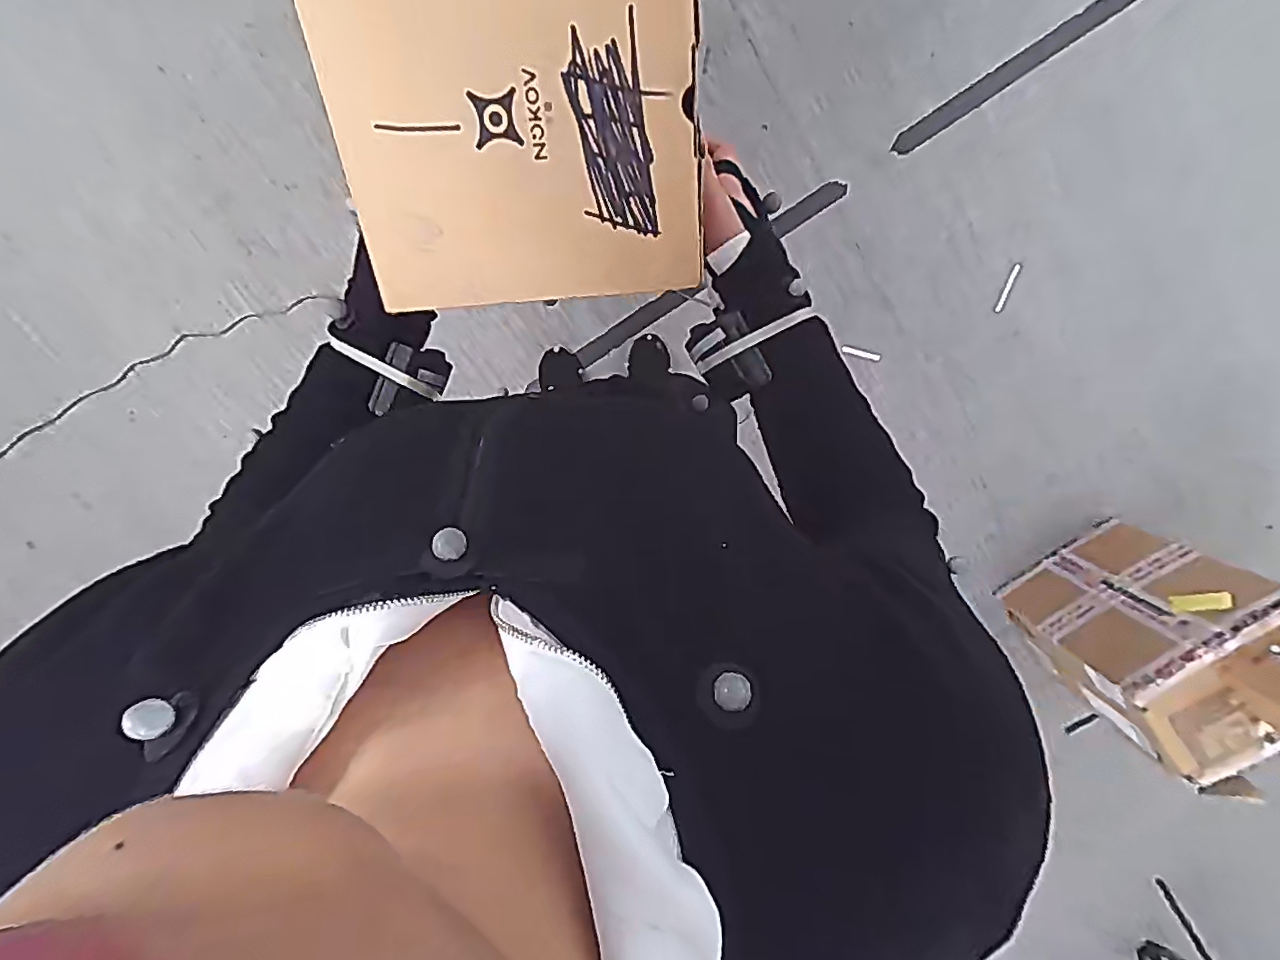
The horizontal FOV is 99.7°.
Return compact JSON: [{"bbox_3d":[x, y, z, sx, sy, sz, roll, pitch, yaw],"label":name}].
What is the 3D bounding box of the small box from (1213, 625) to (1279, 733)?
[{"bbox_3d":[1.333,0.425,1.076,0.179,0.176,0.168,44,99,-7],"label":"small box"}]
